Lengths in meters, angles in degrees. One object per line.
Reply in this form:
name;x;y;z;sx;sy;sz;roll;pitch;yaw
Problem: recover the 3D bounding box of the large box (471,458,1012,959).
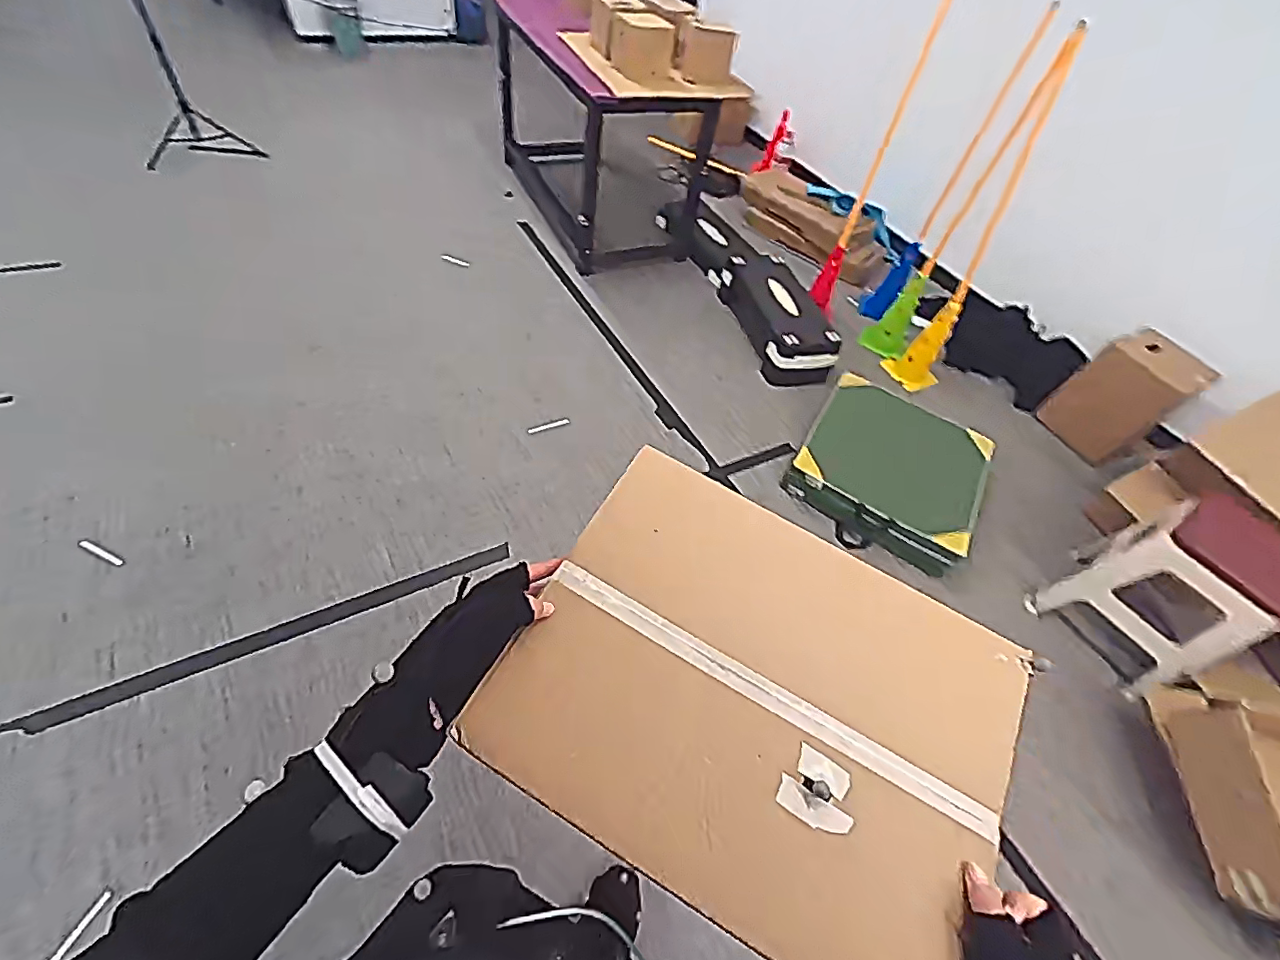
large box;0.090;0.247;0.600;0.408;0.320;0.320;29;65;9
